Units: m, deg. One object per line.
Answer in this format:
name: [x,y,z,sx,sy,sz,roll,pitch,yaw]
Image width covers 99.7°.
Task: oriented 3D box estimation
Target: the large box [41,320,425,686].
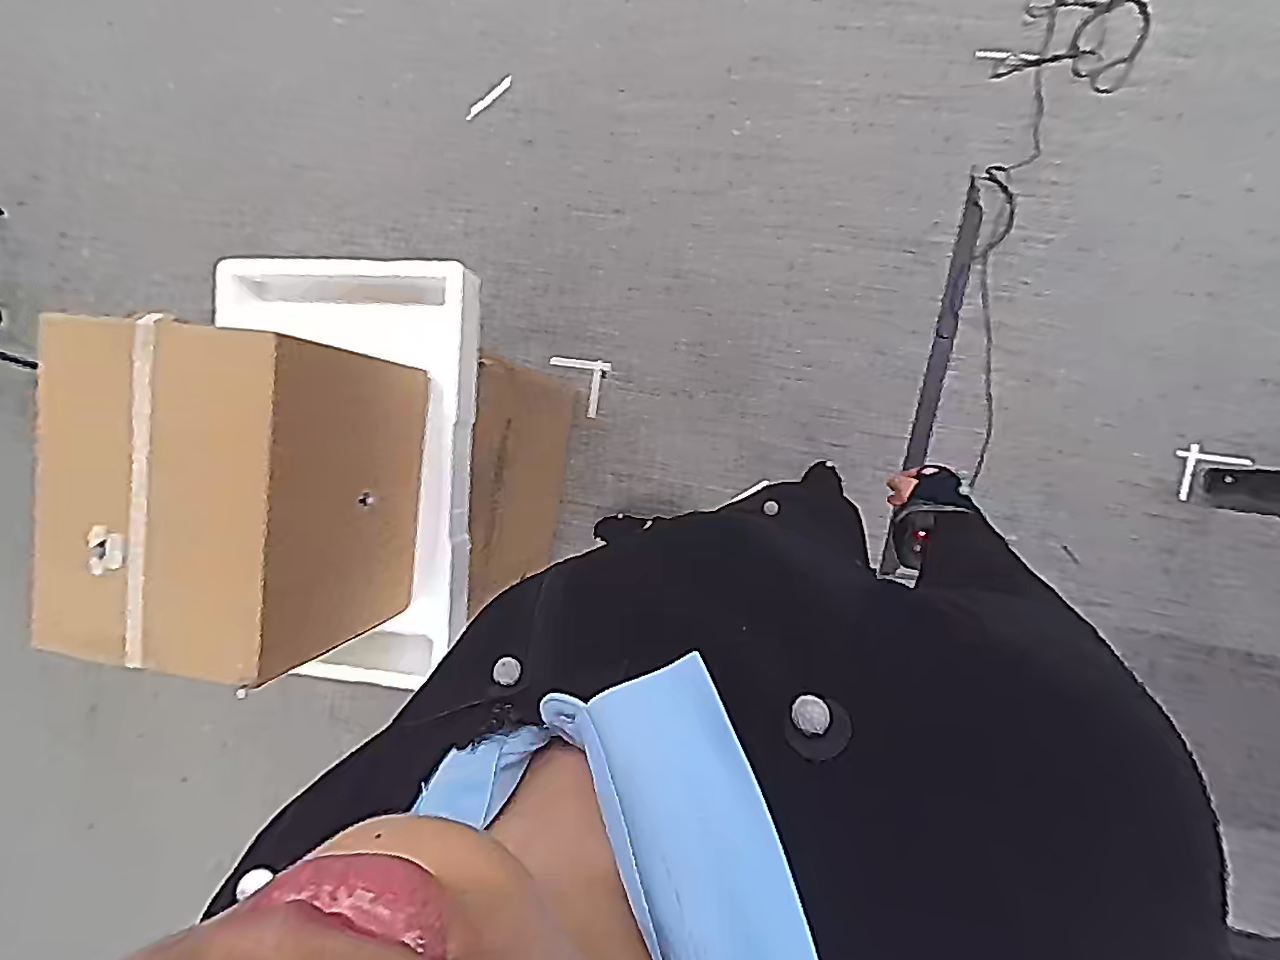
large box: [-0.529,0.012,0.761,0.320,0.320,0.408,6,95,9]
